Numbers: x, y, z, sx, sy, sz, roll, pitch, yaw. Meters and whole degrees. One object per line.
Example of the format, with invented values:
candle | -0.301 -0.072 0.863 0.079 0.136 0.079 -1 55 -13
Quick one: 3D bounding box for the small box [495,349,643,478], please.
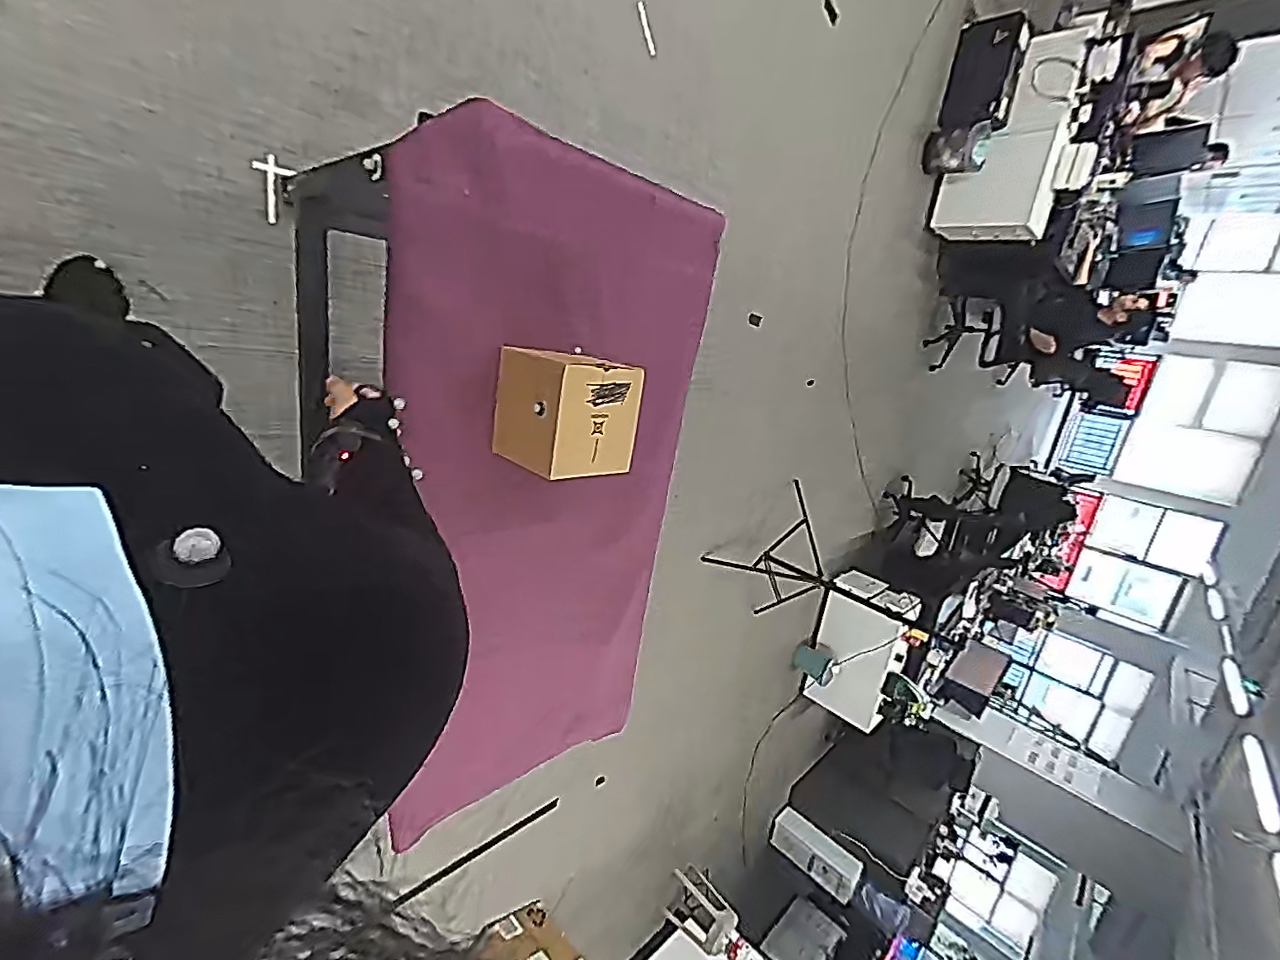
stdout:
small box | -0.121 -0.114 0.890 0.168 0.176 0.179 -6 112 -45
